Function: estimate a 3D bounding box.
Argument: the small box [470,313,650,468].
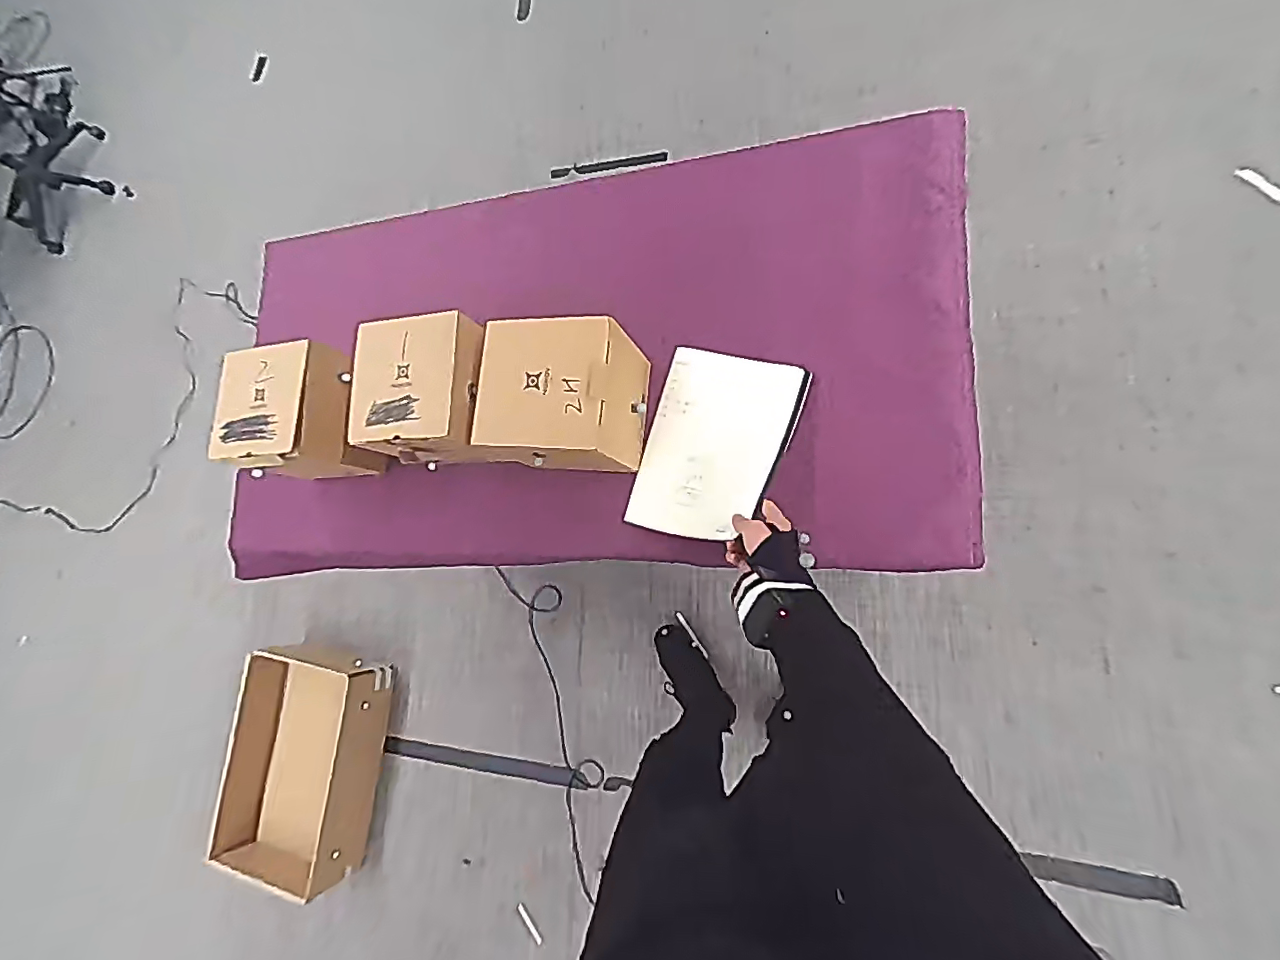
[{"bbox_3d":[-0.098,-0.112,0.734,0.179,0.176,0.168,4,83,17],"label":"small box"}]
